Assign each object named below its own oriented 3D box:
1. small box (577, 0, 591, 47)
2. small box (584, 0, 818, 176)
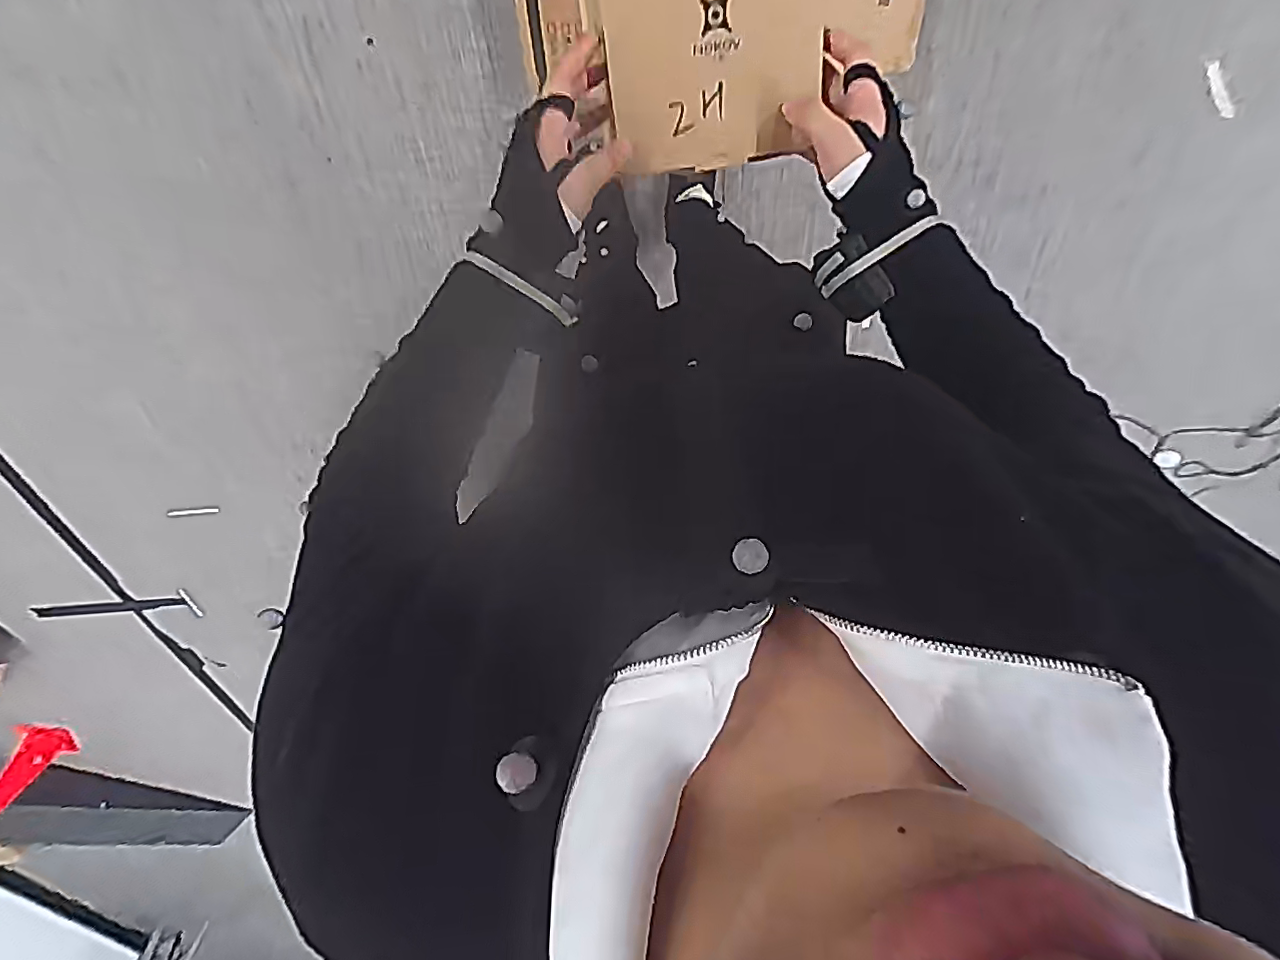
[{"bbox_3d":[-0.022,-0.818,0.873,0.168,0.176,0.179,-6,127,0],"label":"small box"},{"bbox_3d":[0.044,-0.375,0.472,0.168,0.176,0.179,-10,121,0],"label":"small box"}]
